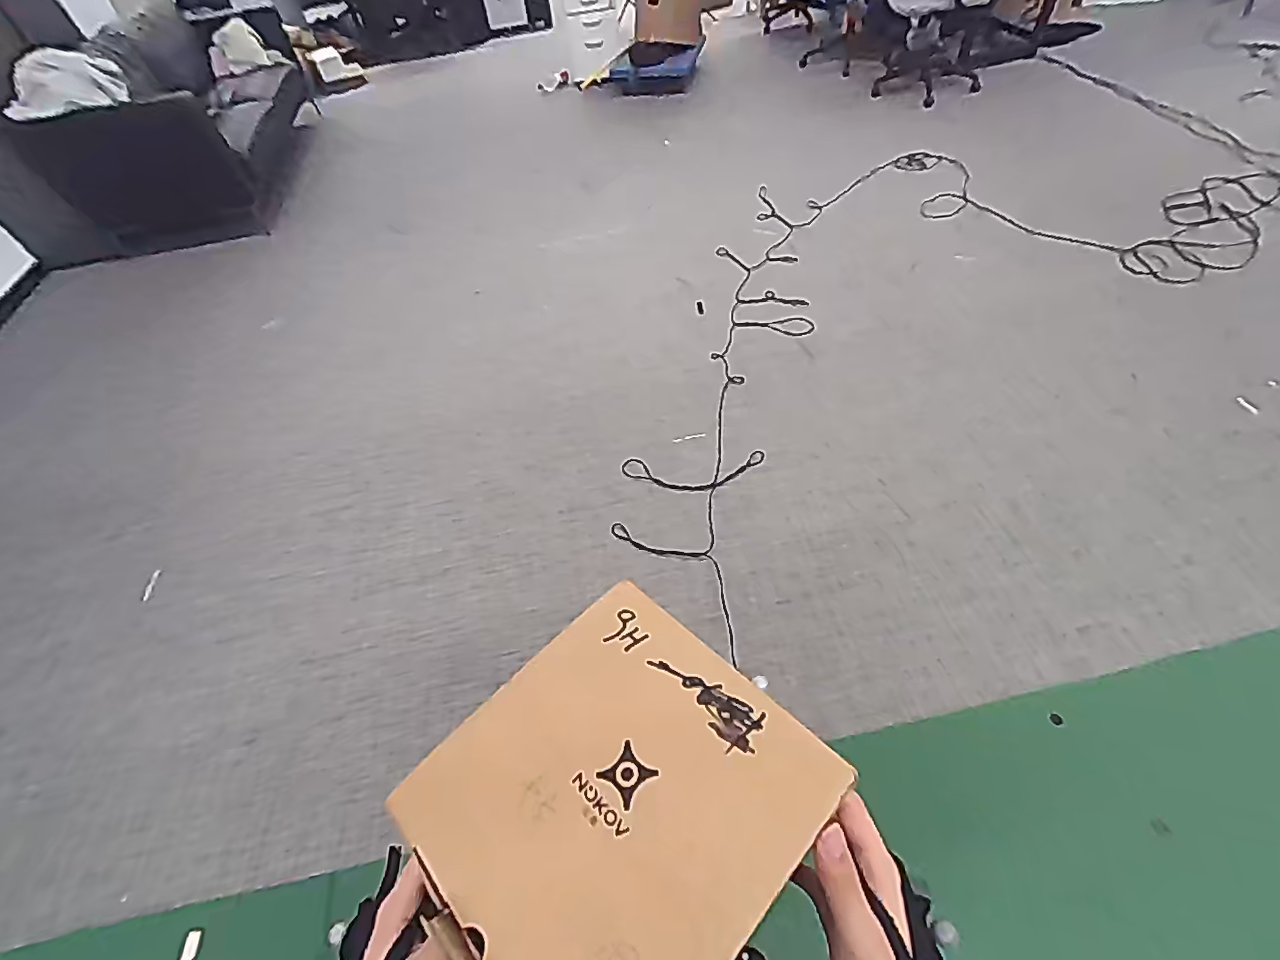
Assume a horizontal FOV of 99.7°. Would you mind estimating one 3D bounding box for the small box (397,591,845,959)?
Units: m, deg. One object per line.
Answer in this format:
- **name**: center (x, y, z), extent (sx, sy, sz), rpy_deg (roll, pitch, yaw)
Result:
- **small box**: center (-0.003, 0.212, 0.333), extent (0.168, 0.176, 0.179), rpy_deg (35, 62, 31)
